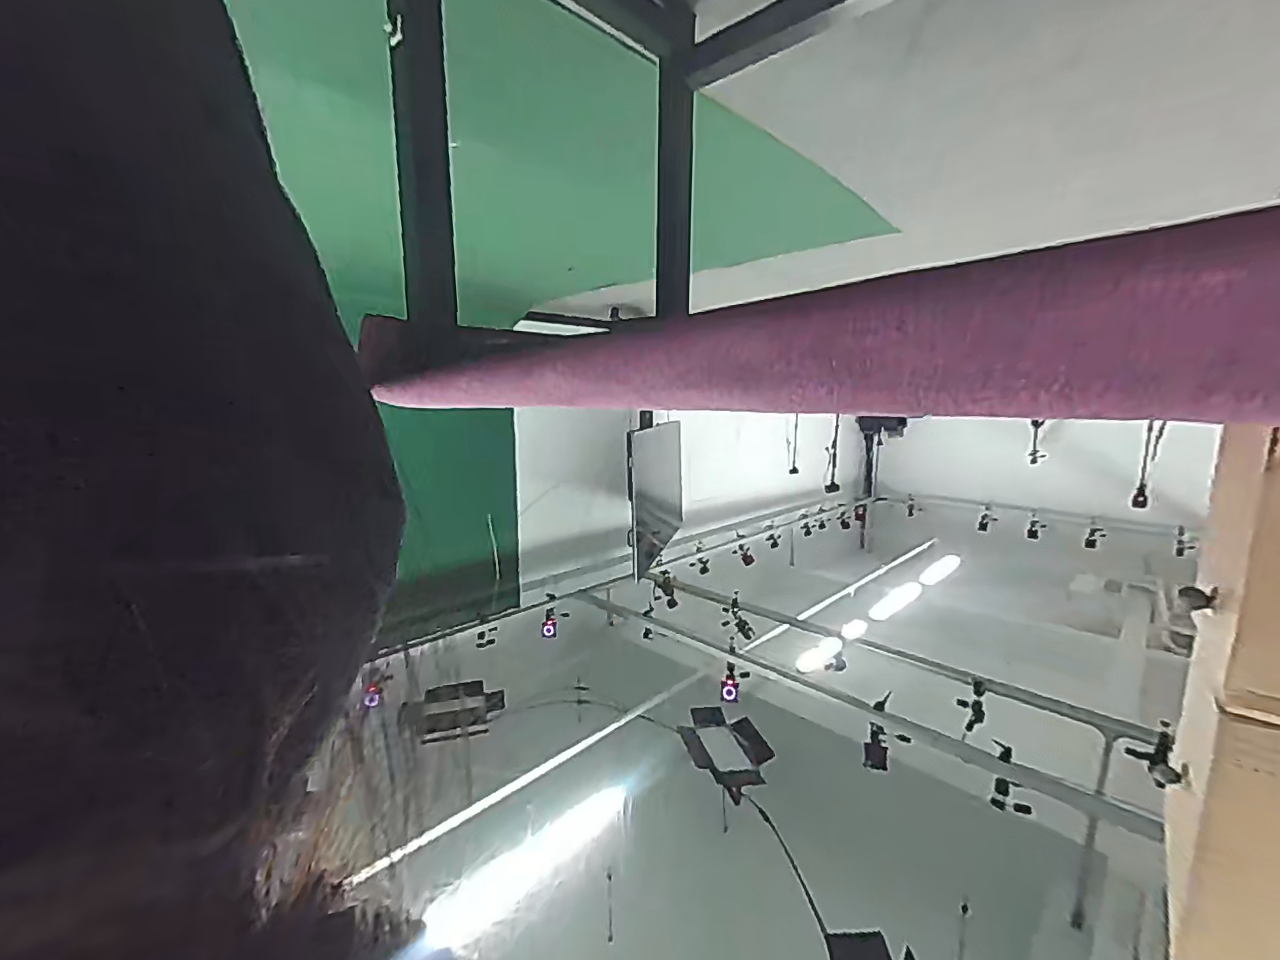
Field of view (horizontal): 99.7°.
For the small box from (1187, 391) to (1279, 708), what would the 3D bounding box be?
[{"bbox_3d":[0.434,0.036,0.291,0.168,0.176,0.179,9,-168,40],"label":"small box"}]
